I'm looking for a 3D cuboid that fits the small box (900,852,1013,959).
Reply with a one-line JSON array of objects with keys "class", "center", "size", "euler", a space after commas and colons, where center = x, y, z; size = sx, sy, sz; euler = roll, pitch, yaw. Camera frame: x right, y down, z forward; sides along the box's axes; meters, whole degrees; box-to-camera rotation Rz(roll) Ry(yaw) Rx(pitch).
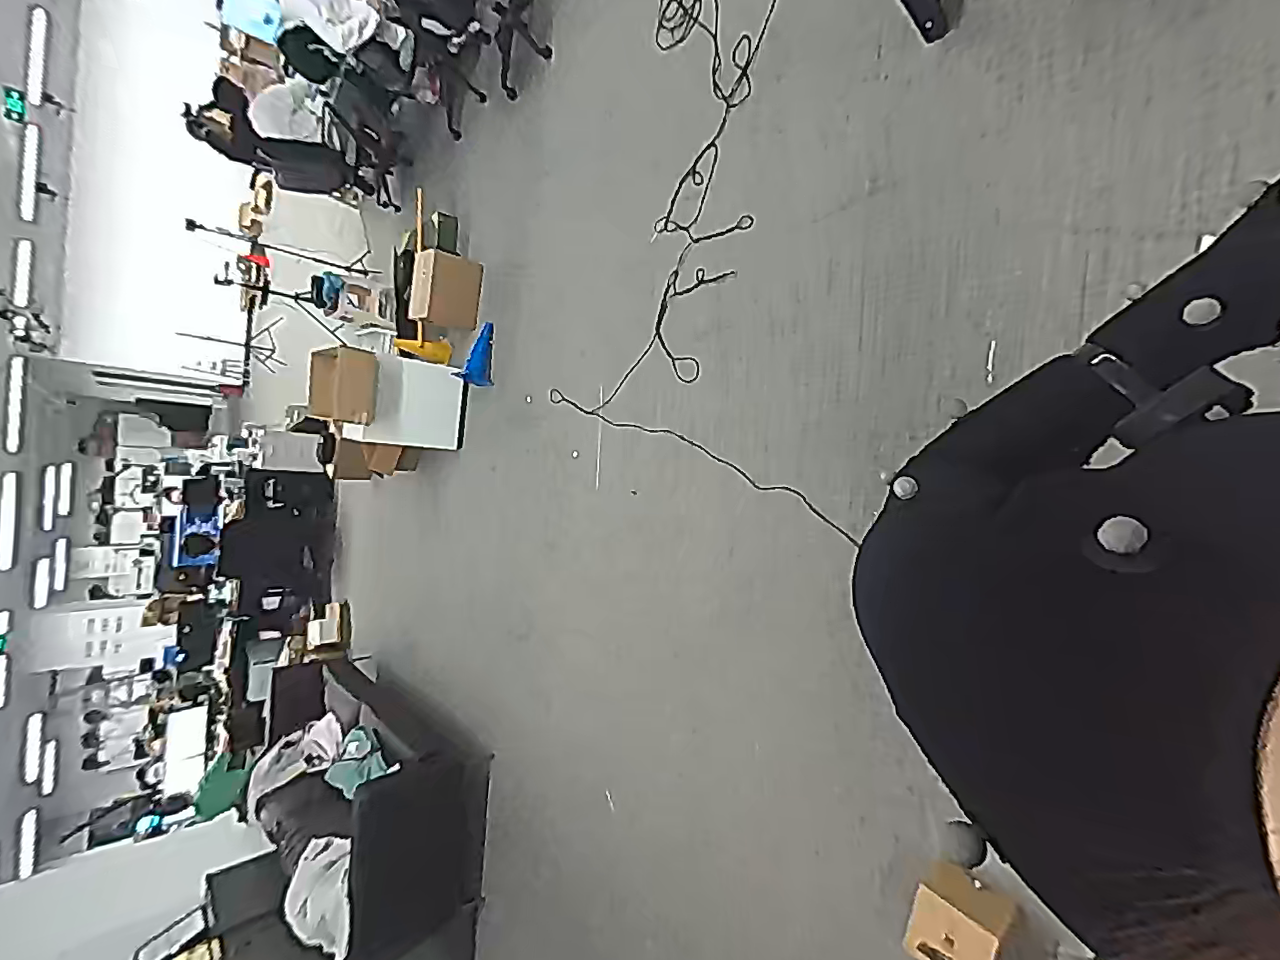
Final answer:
[{"class": "small box", "center": [0.737, 1.023, 1.254], "size": [0.168, 0.176, 0.179], "euler": [18, 100, 46]}]
